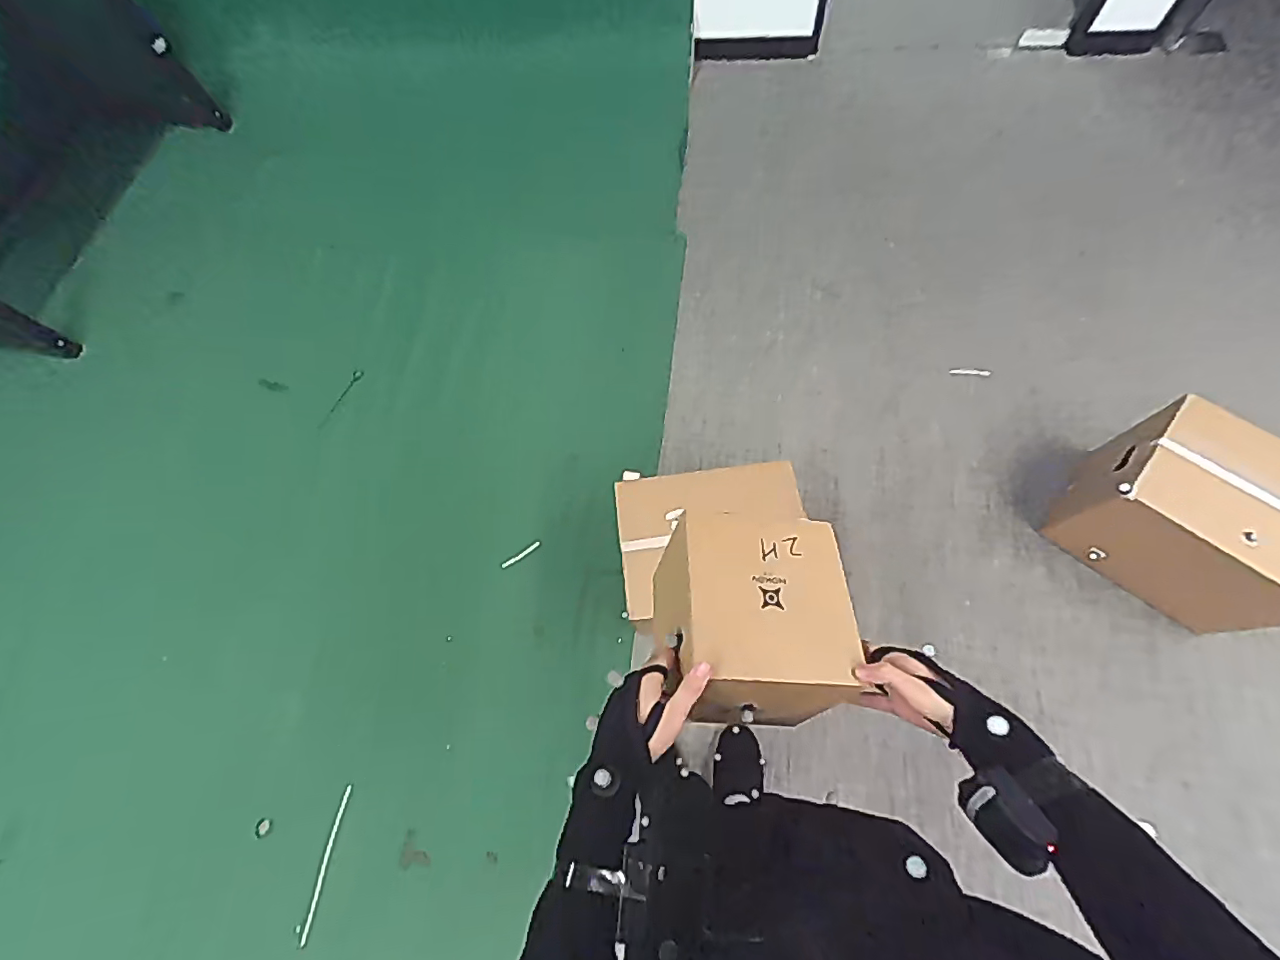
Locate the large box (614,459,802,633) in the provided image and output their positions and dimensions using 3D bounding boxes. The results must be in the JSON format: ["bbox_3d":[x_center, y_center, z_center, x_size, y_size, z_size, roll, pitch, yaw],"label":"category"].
[{"bbox_3d":[0.169,0.175,1.294,0.408,0.320,0.320,-8,67,3],"label":"large box"}]

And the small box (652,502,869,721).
[{"bbox_3d":[0.111,0.149,0.583,0.168,0.176,0.179,8,52,-9],"label":"small box"}]
